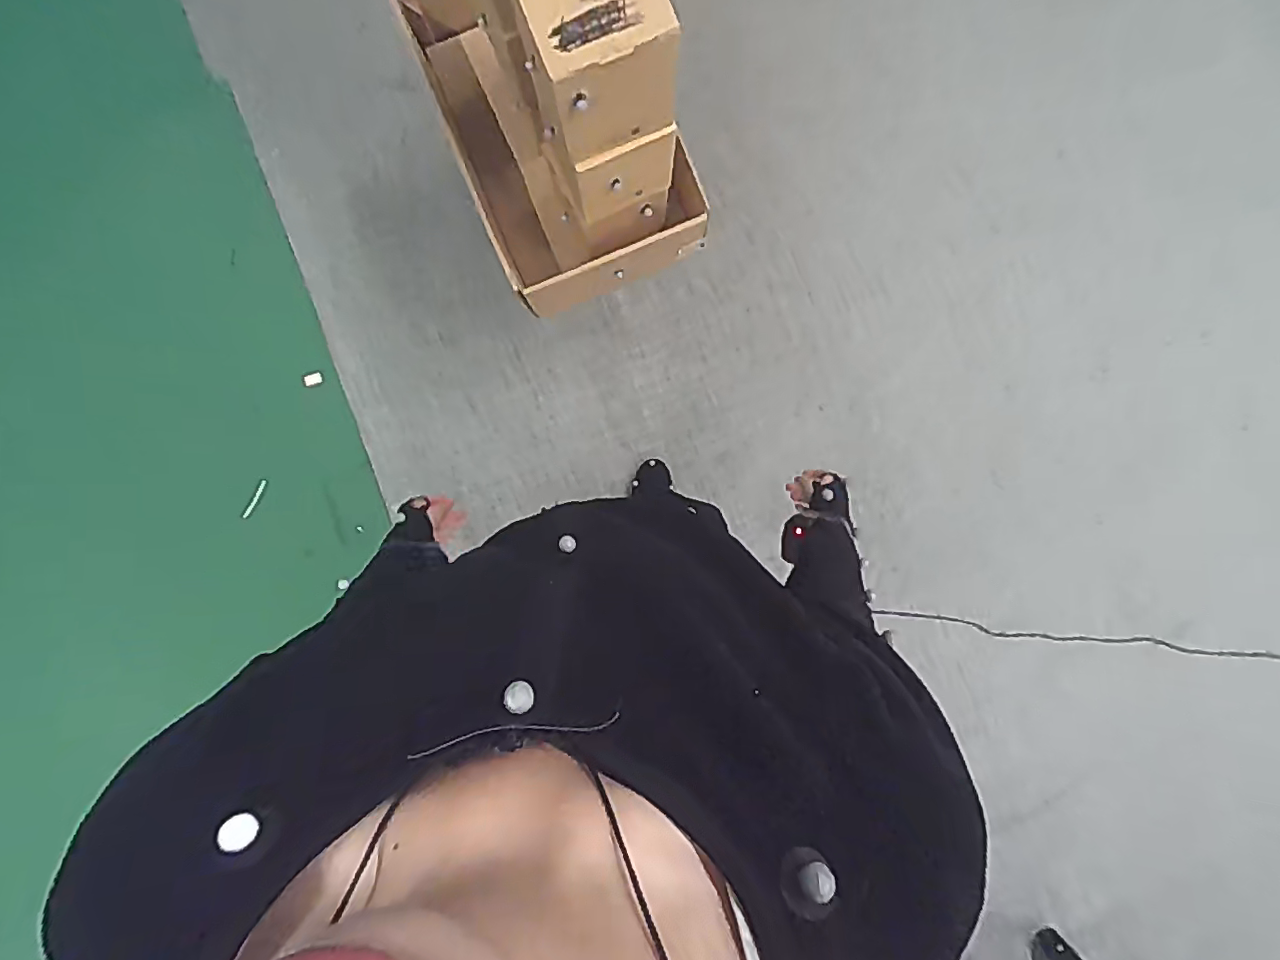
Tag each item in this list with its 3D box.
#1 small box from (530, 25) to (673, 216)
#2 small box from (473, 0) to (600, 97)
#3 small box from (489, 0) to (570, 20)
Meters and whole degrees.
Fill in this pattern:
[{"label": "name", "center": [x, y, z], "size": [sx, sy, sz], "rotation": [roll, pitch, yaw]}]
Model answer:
[{"label": "small box", "center": [-0.056, -0.562, 0.877], "size": [0.168, 0.176, 0.179], "rotation": [-24, 90, -1]}, {"label": "small box", "center": [-0.171, -0.769, 0.877], "size": [0.168, 0.176, 0.179], "rotation": [-27, 92, -1]}, {"label": "small box", "center": [-0.159, -0.766, 0.714], "size": [0.168, 0.176, 0.179], "rotation": [-25, 93, -1]}]
